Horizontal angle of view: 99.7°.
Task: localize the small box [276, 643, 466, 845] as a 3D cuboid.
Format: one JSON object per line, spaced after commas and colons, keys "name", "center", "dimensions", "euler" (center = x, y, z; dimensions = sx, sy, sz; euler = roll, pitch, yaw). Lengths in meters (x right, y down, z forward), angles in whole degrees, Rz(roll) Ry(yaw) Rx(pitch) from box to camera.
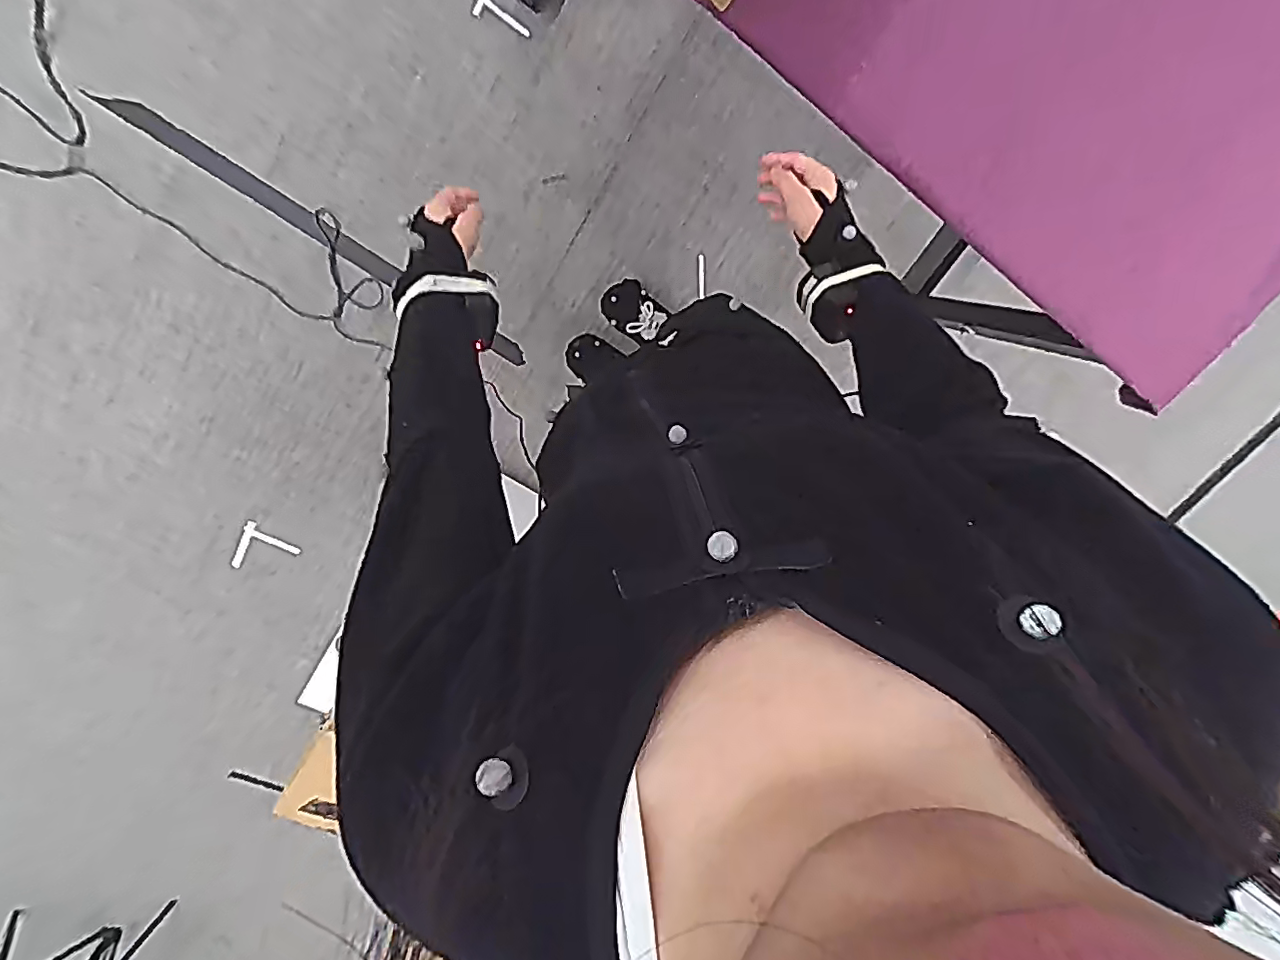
{"name": "small box", "center": [-0.378, 0.380, 0.792], "dimensions": [0.168, 0.176, 0.179], "euler": [33, 107, -17]}
